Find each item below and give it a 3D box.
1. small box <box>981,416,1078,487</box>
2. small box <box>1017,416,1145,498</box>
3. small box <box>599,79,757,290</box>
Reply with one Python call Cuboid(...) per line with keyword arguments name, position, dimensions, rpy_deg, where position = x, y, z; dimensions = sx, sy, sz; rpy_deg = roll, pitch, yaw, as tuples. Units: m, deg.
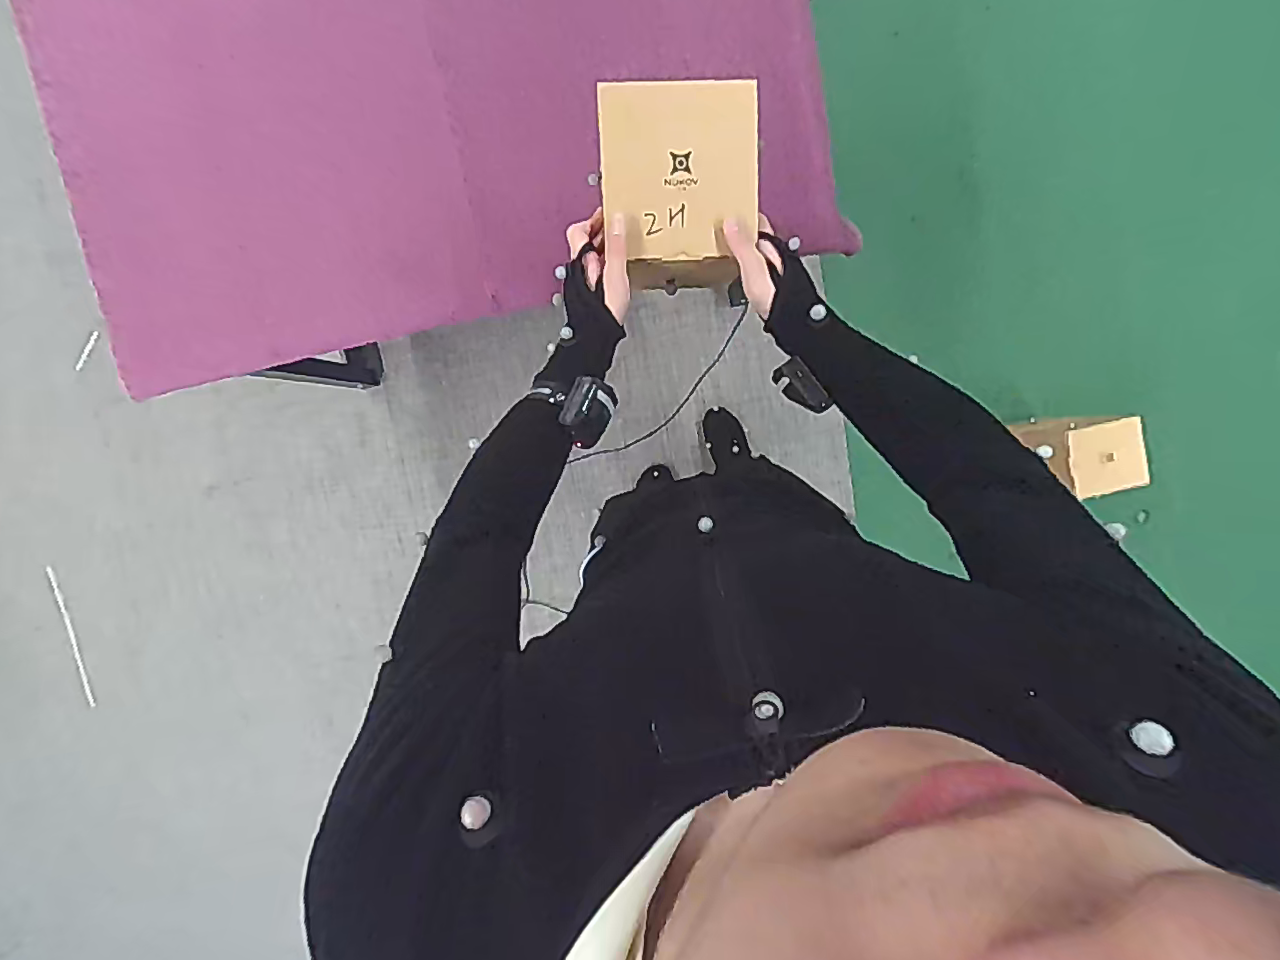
Cuboid(name="small box", position=(1.091, -0.081, 1.516), dimensions=(0.179, 0.176, 0.168), rpy_deg=(-13, 95, 2))
Cuboid(name="small box", position=(1.097, -0.063, 1.355), dimensions=(0.179, 0.176, 0.168), rpy_deg=(-14, 96, 3))
Cuboid(name="small box", position=(0.037, -0.333, 0.640), dimensions=(0.168, 0.176, 0.179), rpy_deg=(-2, 100, -2))
